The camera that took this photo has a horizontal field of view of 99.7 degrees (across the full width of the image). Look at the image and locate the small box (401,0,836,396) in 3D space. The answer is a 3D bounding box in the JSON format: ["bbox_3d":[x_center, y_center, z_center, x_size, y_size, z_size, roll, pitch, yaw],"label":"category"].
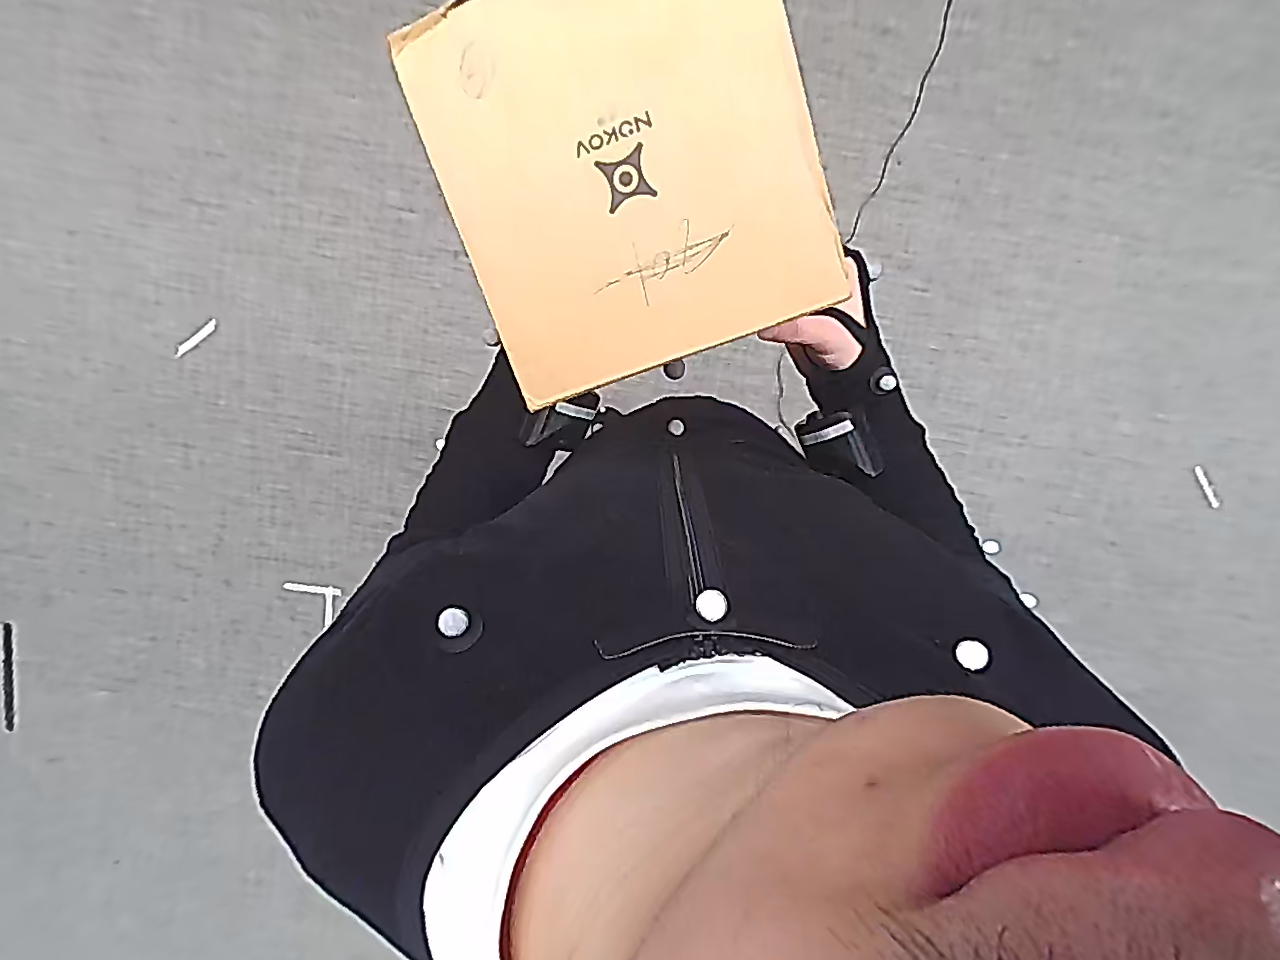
[{"bbox_3d":[-0.001,-0.166,0.330,0.168,0.176,0.179,-17,104,11],"label":"small box"}]
